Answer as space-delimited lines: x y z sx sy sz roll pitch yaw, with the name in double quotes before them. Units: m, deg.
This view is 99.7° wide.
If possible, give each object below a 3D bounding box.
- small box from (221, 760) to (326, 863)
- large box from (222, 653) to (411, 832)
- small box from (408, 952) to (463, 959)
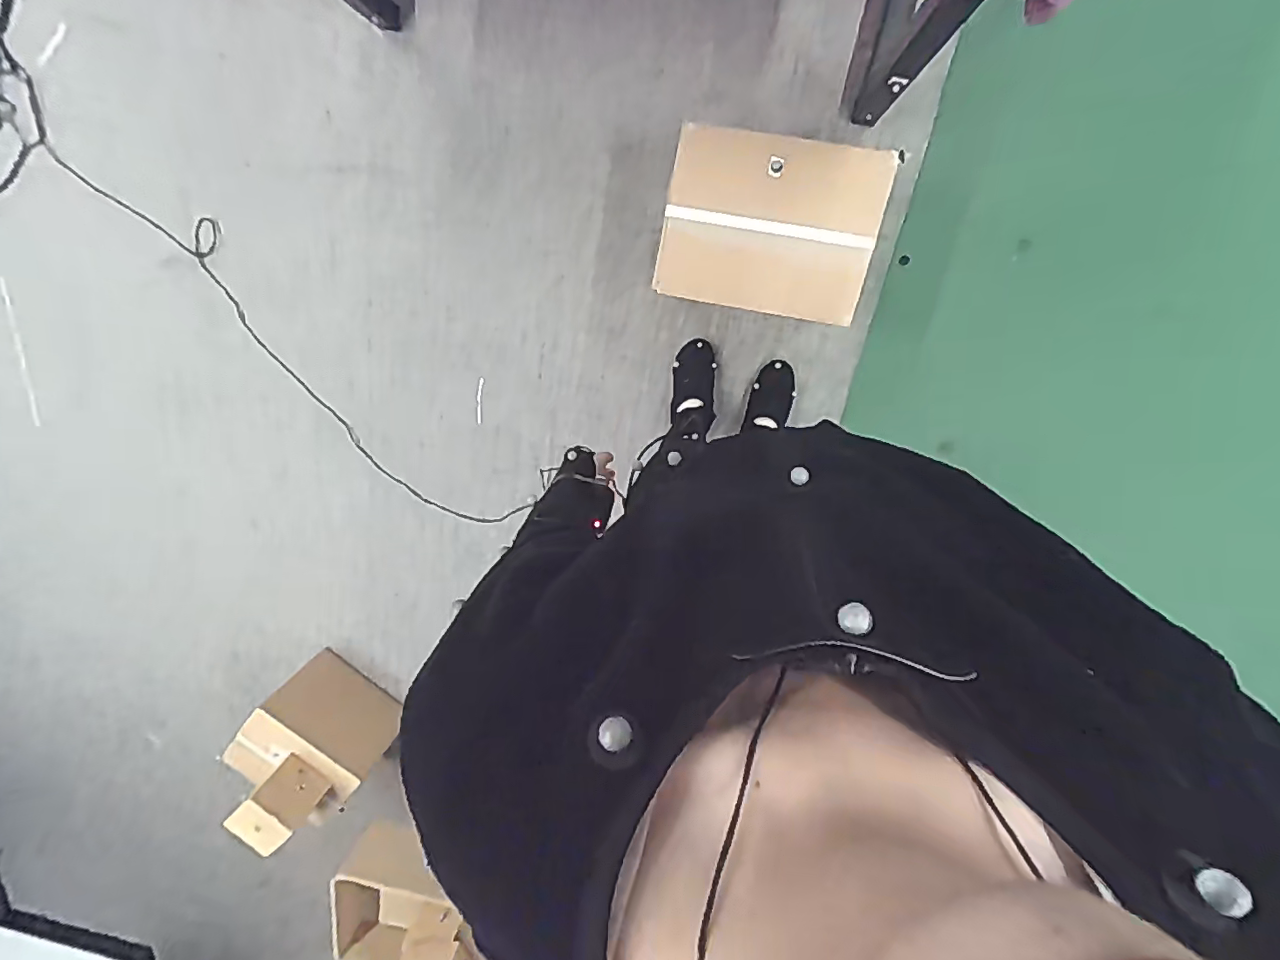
"small box" -1.102 1.000 1.639 0.168 0.176 0.179 45 110 -7
"large box" -1.093 0.890 1.861 0.408 0.320 0.320 41 109 -4
"small box" -0.546 1.360 1.384 0.179 0.176 0.168 -16 105 12
